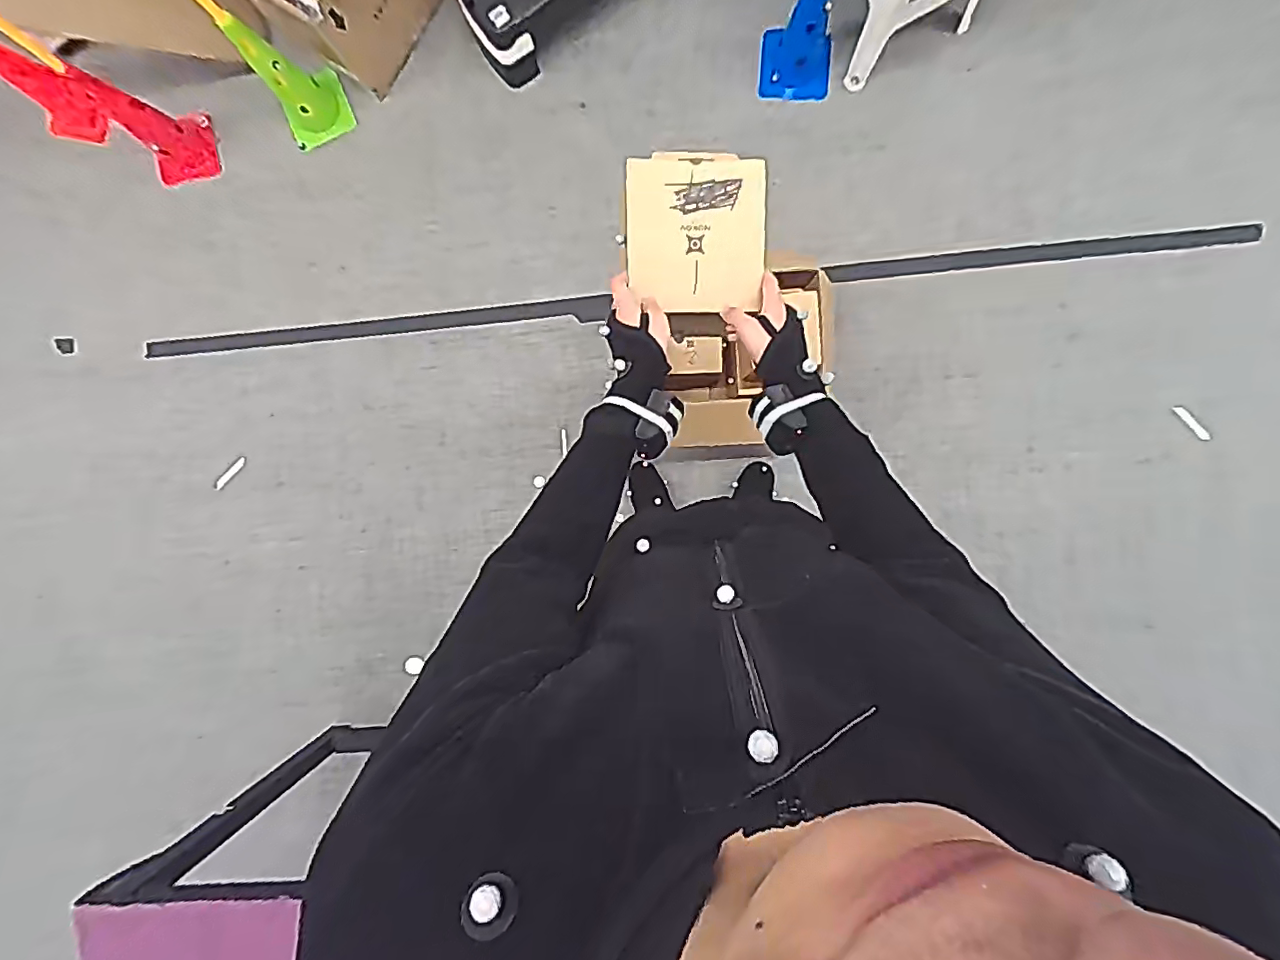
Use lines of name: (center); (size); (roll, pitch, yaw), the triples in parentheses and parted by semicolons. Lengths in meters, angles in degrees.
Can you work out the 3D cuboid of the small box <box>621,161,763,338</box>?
small box: (0.060, -0.294, 0.722); (0.168, 0.176, 0.179); (-2, 95, -3)
